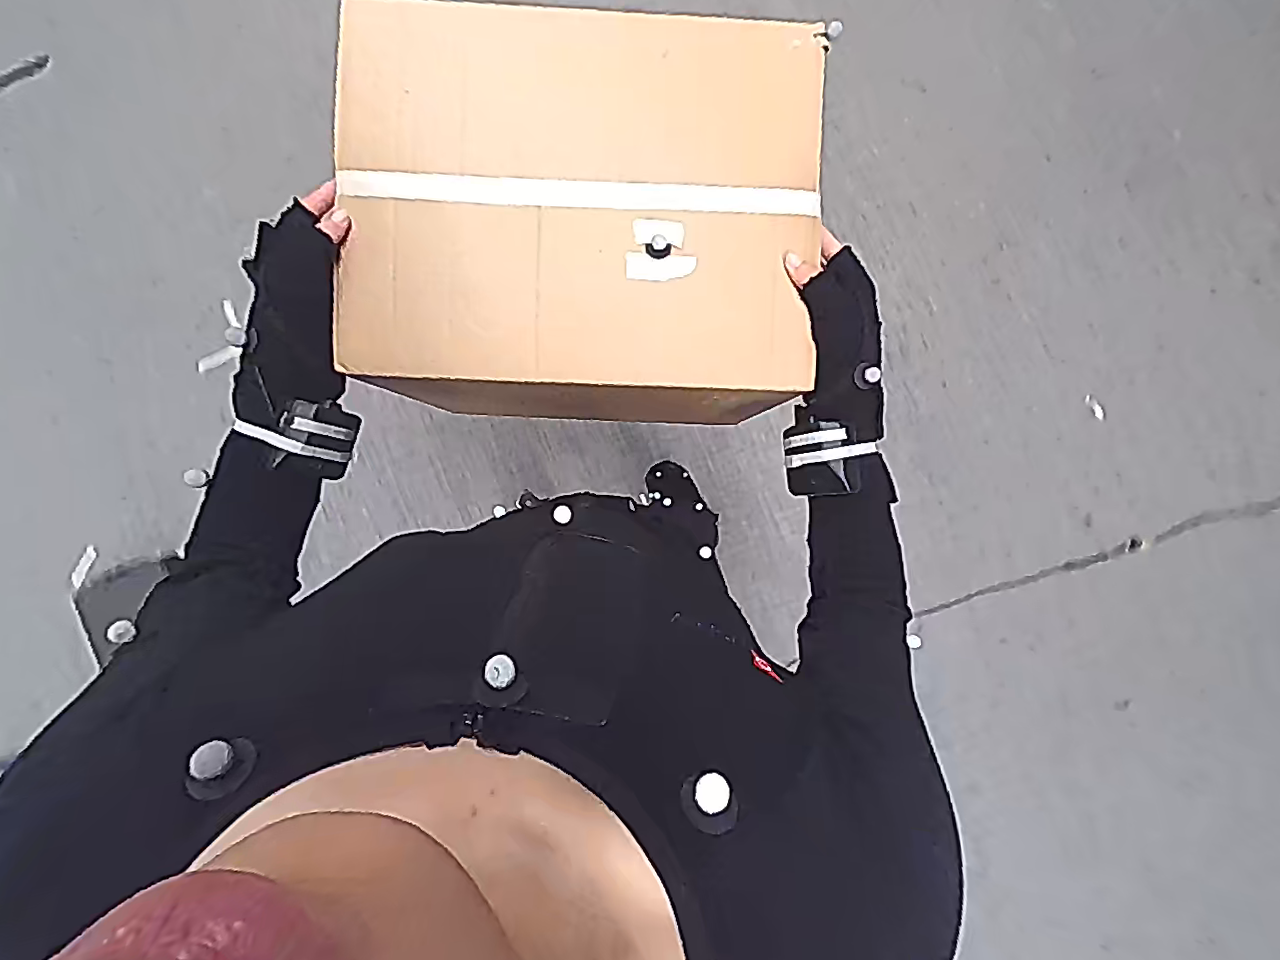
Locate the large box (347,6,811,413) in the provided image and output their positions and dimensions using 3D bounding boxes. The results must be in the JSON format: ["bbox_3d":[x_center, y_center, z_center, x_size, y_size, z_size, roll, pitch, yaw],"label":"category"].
[{"bbox_3d":[-0.057,-0.250,0.614,0.408,0.320,0.320,1,91,-2],"label":"large box"}]
